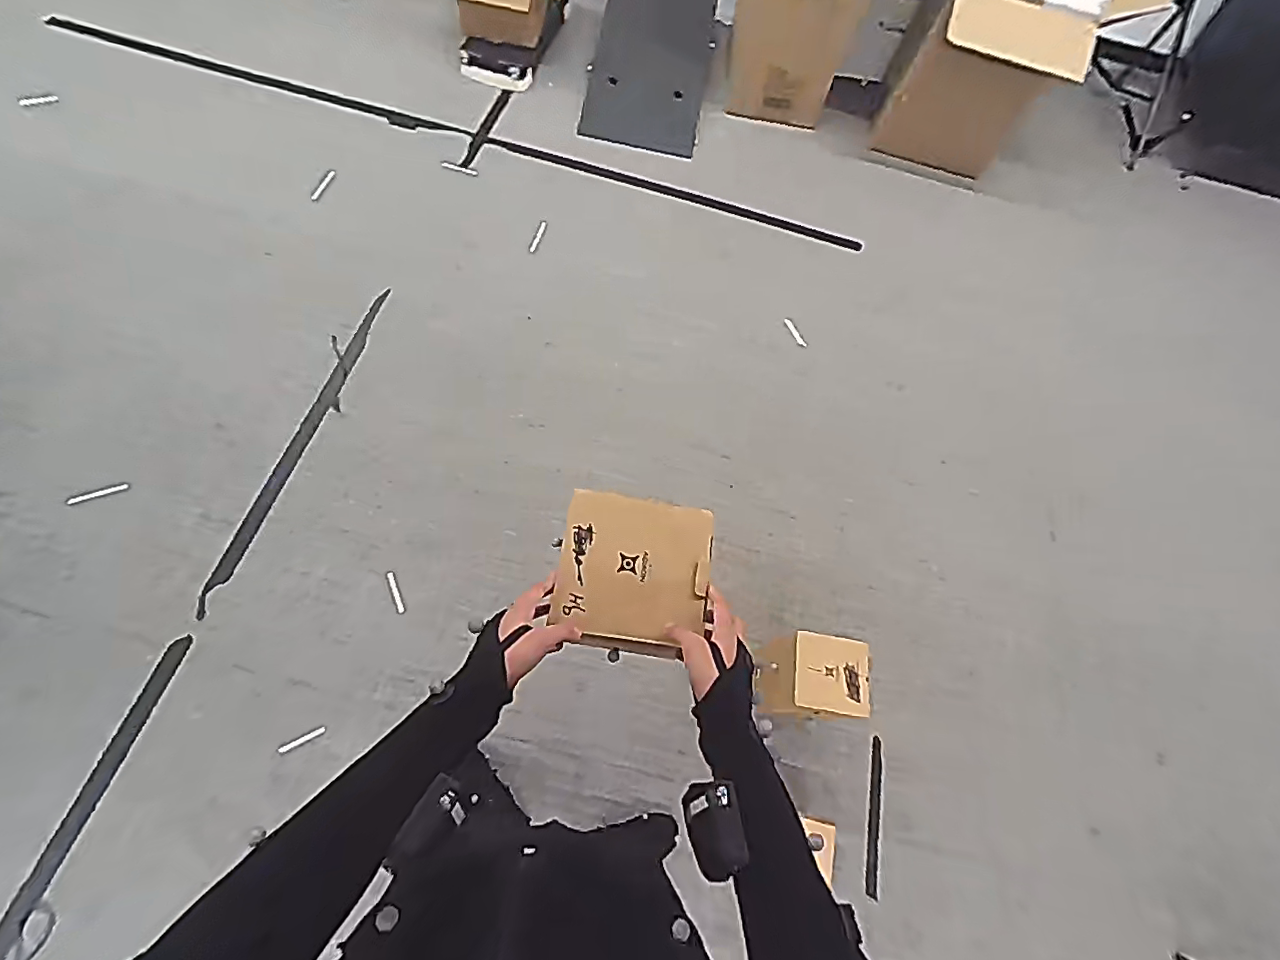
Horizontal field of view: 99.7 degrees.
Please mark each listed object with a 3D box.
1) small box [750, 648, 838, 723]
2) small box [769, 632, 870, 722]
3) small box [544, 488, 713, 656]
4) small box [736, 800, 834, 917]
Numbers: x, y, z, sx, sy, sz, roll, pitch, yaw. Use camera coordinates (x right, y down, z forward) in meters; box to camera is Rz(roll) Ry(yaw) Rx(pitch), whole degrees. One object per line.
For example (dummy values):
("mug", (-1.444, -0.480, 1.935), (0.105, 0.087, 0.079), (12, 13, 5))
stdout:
("small box", (0.409, 0.544, 1.439), (0.179, 0.176, 0.168), (10, 66, -3))
("small box", (0.426, 0.473, 1.293), (0.179, 0.176, 0.168), (12, 66, -2))
("small box", (-0.020, 0.127, 0.692), (0.179, 0.176, 0.168), (11, 68, -4))
("small box", (0.339, 0.886, 1.286), (0.168, 0.176, 0.179), (17, 67, 0))
